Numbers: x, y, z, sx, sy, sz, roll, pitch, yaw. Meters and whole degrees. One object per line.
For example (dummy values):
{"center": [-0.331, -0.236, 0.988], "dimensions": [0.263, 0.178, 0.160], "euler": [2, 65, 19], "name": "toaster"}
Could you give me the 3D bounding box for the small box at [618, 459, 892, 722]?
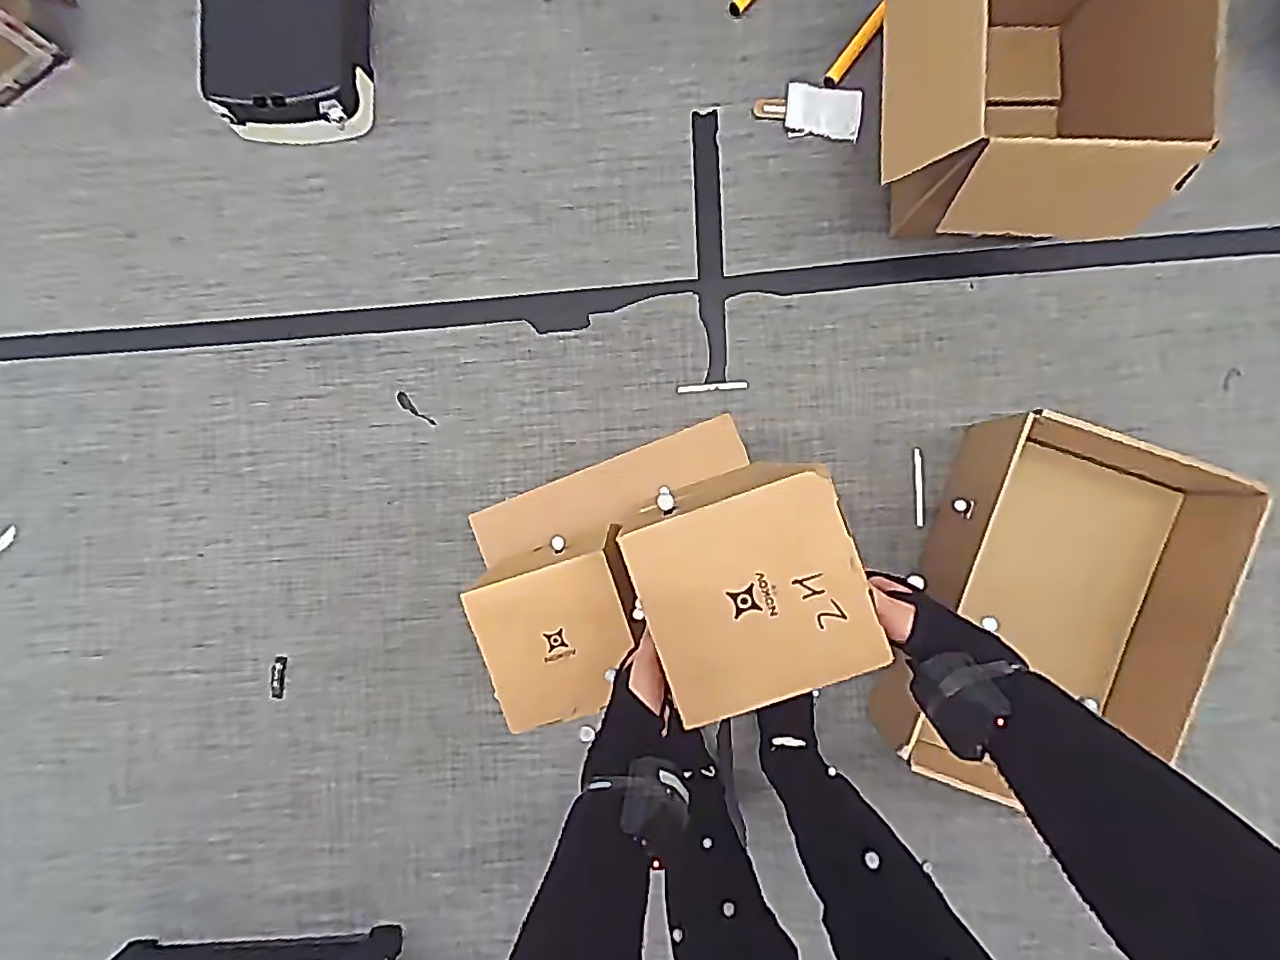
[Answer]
{"center": [0.093, 0.086, 0.499], "dimensions": [0.179, 0.176, 0.168], "euler": [-19, 91, 3], "name": "small box"}
